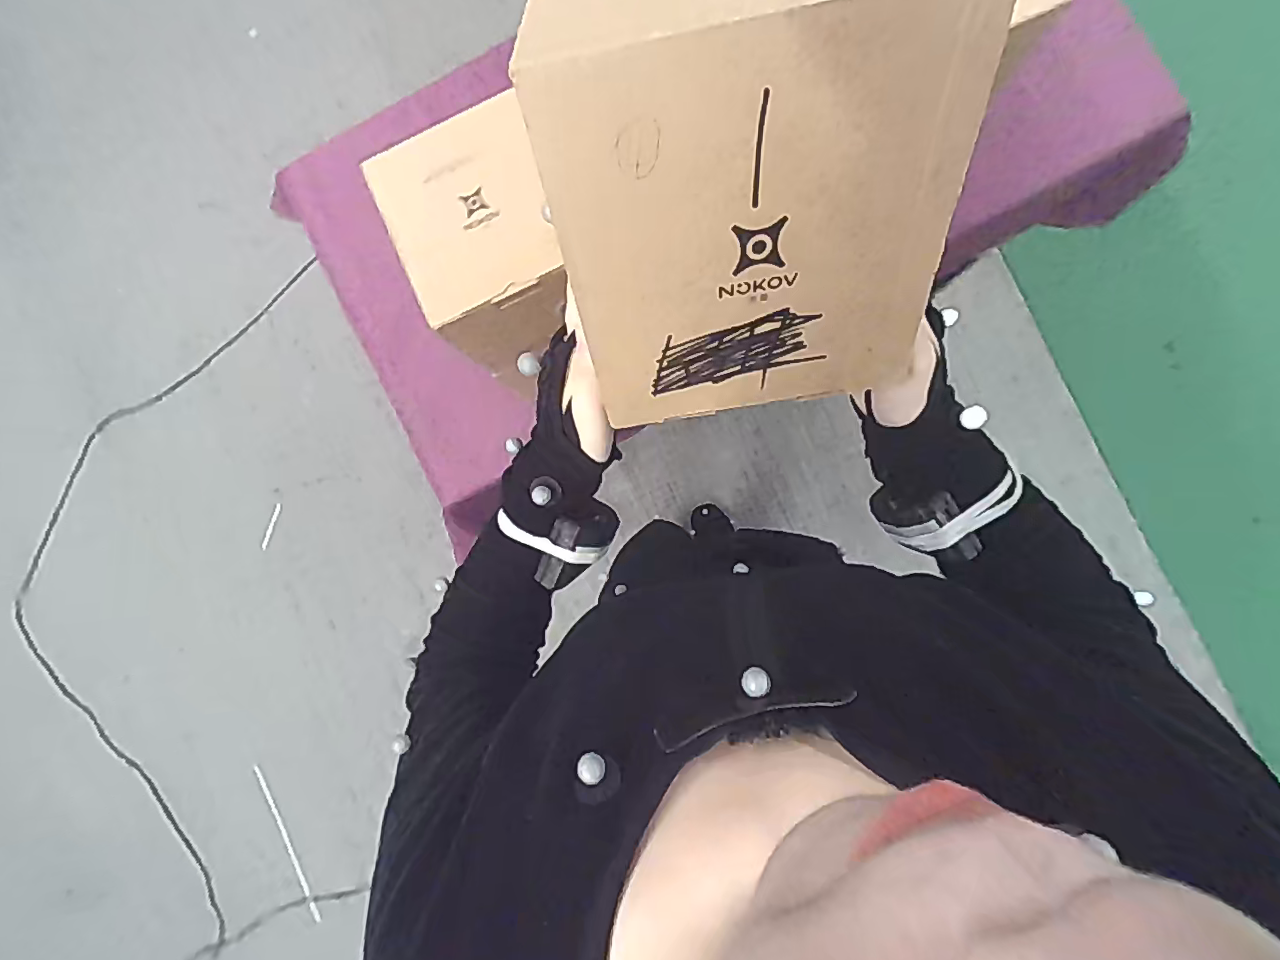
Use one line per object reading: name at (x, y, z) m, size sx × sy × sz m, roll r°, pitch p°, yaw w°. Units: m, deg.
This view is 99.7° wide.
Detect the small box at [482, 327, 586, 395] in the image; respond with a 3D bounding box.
small box at (-0.131, -0.234, 0.729) m, size 0.179 × 0.176 × 0.168 m, roll -26°, pitch 86°, yaw 3°

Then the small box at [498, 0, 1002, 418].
small box at (0.042, -0.160, 0.286) m, size 0.168 × 0.179 × 0.176 m, roll -8°, pitch 51°, yaw 5°

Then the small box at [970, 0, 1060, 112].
small box at (0.256, -0.450, 0.541) m, size 0.168 × 0.176 × 0.179 m, roll -22°, pitch 86°, yaw 3°

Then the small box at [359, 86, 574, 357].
small box at (-0.145, -0.246, 0.566) m, size 0.168 × 0.176 × 0.179 m, roll -24°, pitch 85°, yaw 3°
